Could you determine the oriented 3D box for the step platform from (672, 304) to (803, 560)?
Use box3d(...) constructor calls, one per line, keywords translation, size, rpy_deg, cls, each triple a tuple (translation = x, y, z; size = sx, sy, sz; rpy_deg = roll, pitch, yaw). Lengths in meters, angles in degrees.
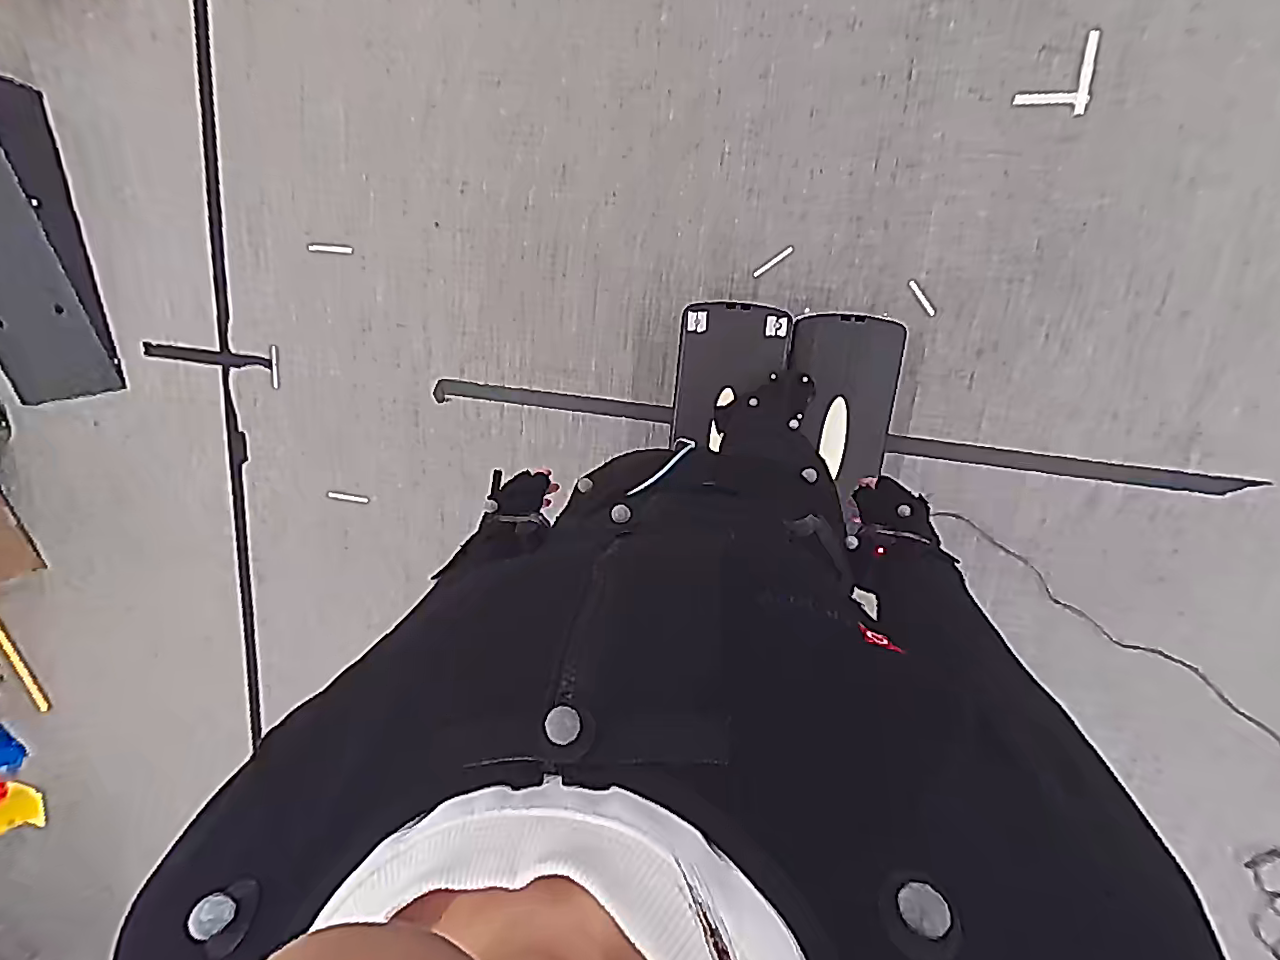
box3d(translation=(0.258, -0.123, 1.479), size=(0.286, 0.204, 0.684), rpy_deg=(6, 101, 9), cls="step platform")
